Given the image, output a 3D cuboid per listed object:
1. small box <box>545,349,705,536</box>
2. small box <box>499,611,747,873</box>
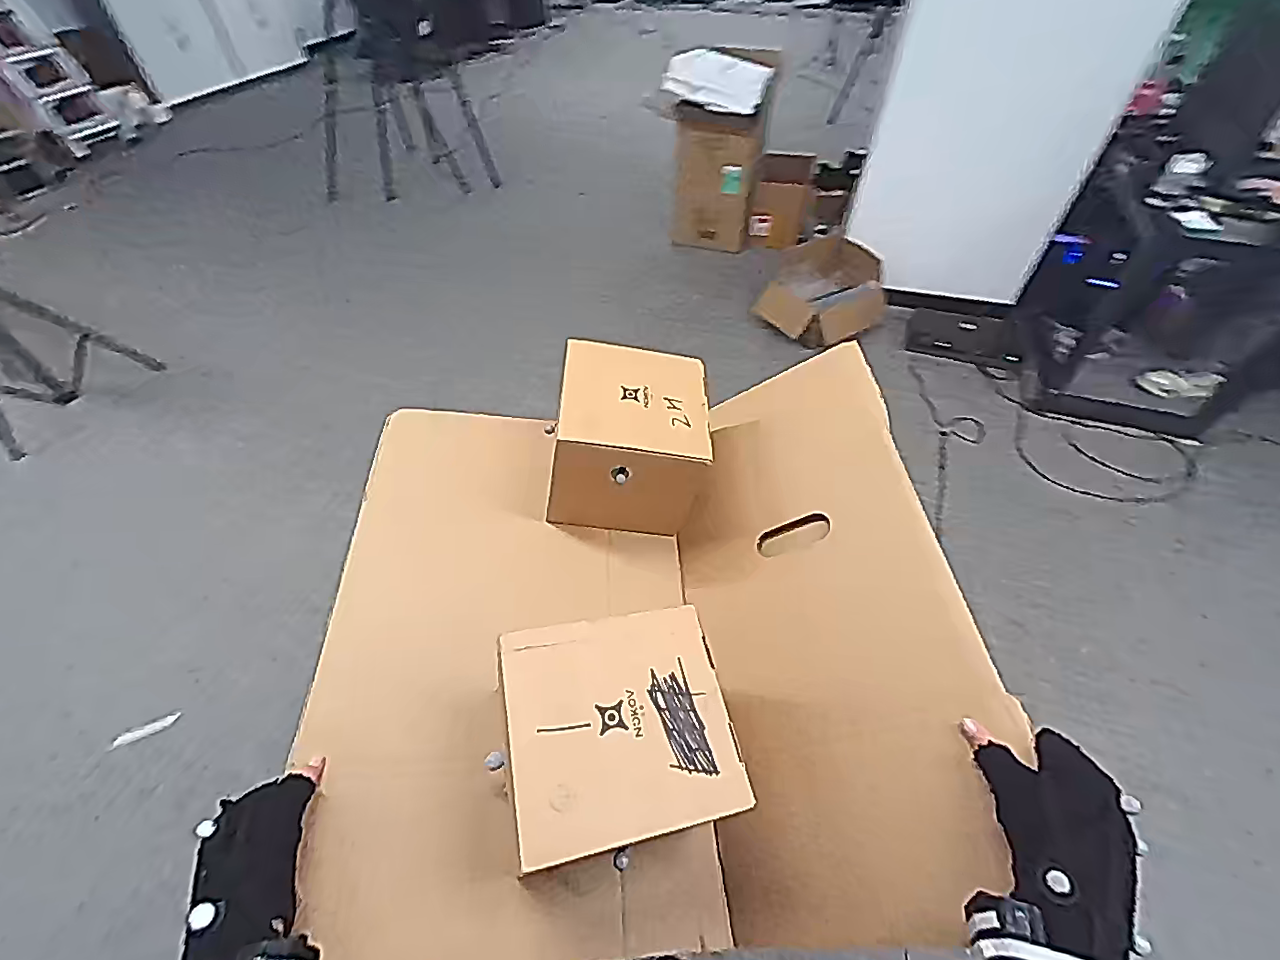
[{"bbox_3d":[-0.026,-0.042,0.704,0.179,0.176,0.168,8,53,-10],"label":"small box"},{"bbox_3d":[-0.033,0.237,0.495,0.179,0.176,0.168,-5,56,-17],"label":"small box"}]
